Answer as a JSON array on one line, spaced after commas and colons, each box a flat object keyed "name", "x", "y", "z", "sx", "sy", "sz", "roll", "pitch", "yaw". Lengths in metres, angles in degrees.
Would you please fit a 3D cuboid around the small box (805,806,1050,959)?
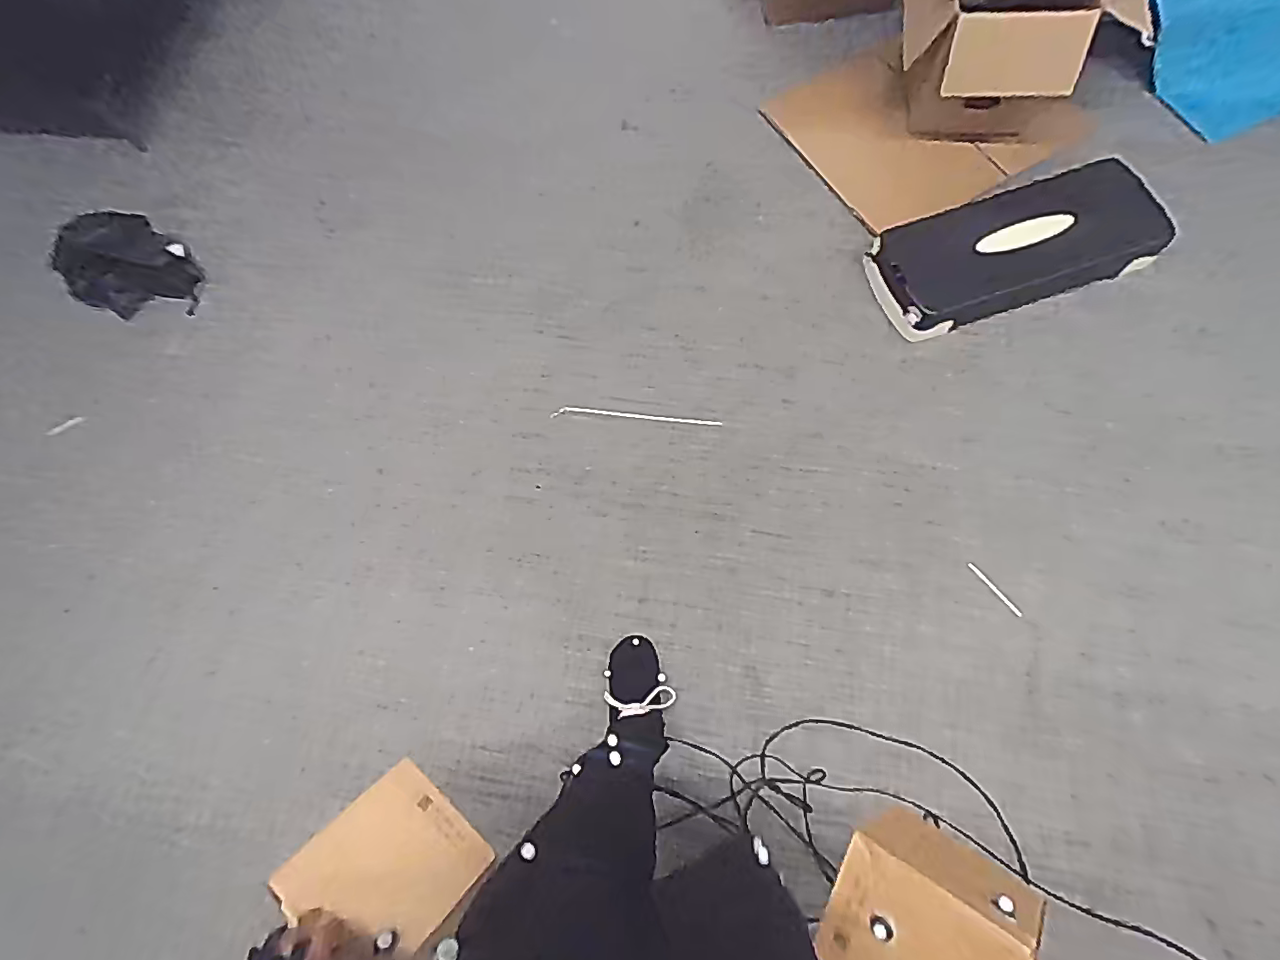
[{"name": "small box", "x": 0.308, "y": 0.484, "z": 0.580, "sx": 0.176, "sy": 0.179, "sz": 0.168, "roll": 22, "pitch": 86, "yaw": 43}]
